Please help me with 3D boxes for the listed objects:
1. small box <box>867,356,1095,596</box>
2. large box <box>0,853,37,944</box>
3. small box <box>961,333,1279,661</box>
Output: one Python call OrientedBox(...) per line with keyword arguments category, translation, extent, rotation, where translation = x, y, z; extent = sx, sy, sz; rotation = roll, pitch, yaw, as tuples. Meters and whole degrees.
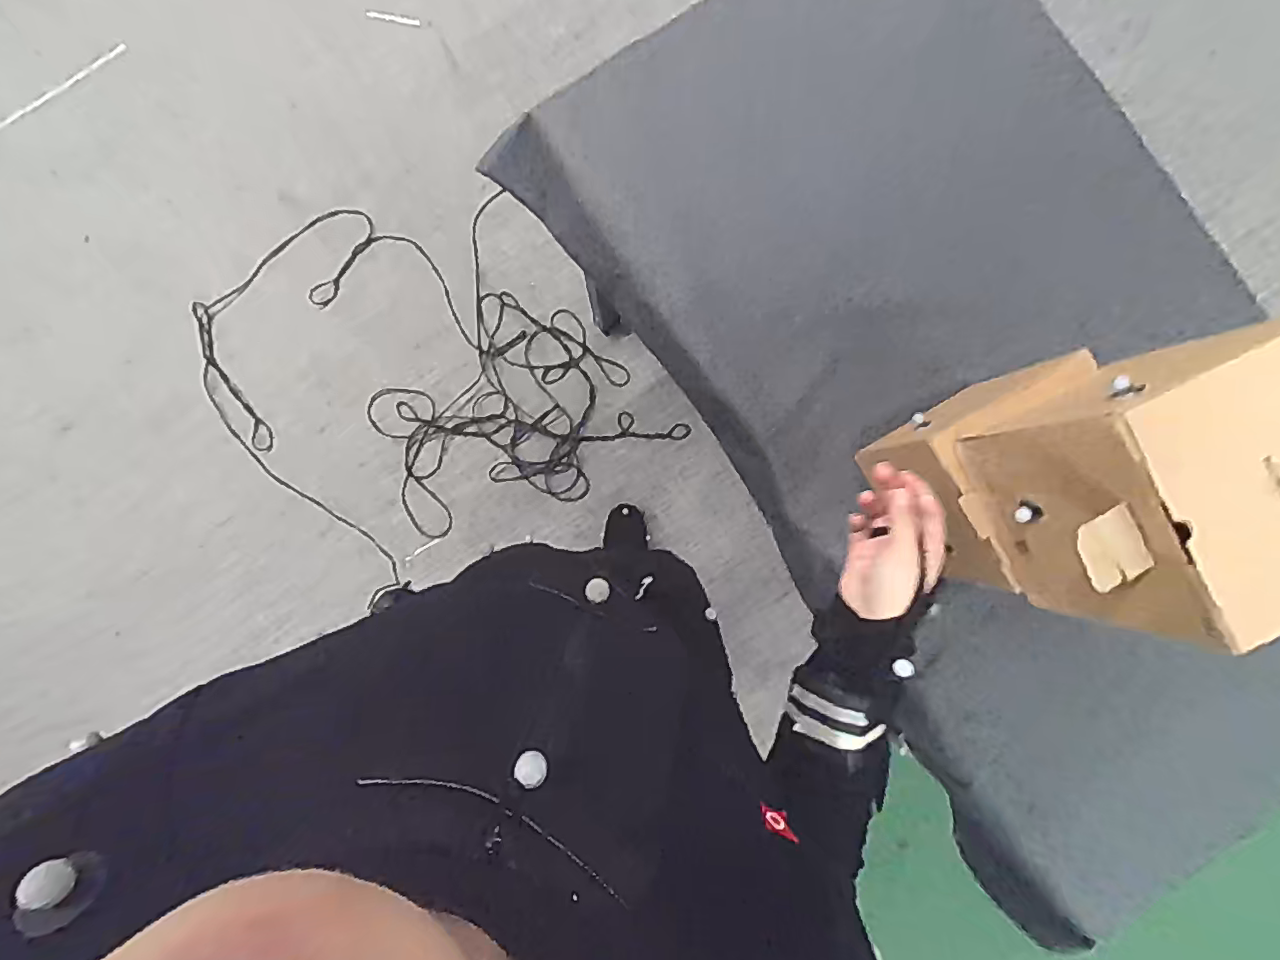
OrientedBox(category="small box", translation=(0.372, 0.000, 0.576), extent=(0.179, 0.176, 0.168), rotation=(-30, 89, -3))
OrientedBox(category="large box", translation=(-1.682, 0.968, 1.160), extent=(0.320, 0.320, 0.408), rotation=(-34, 87, -3))
OrientedBox(category="small box", translation=(0.399, 0.004, 0.413), extent=(0.179, 0.176, 0.168), rotation=(-26, 89, -2))
